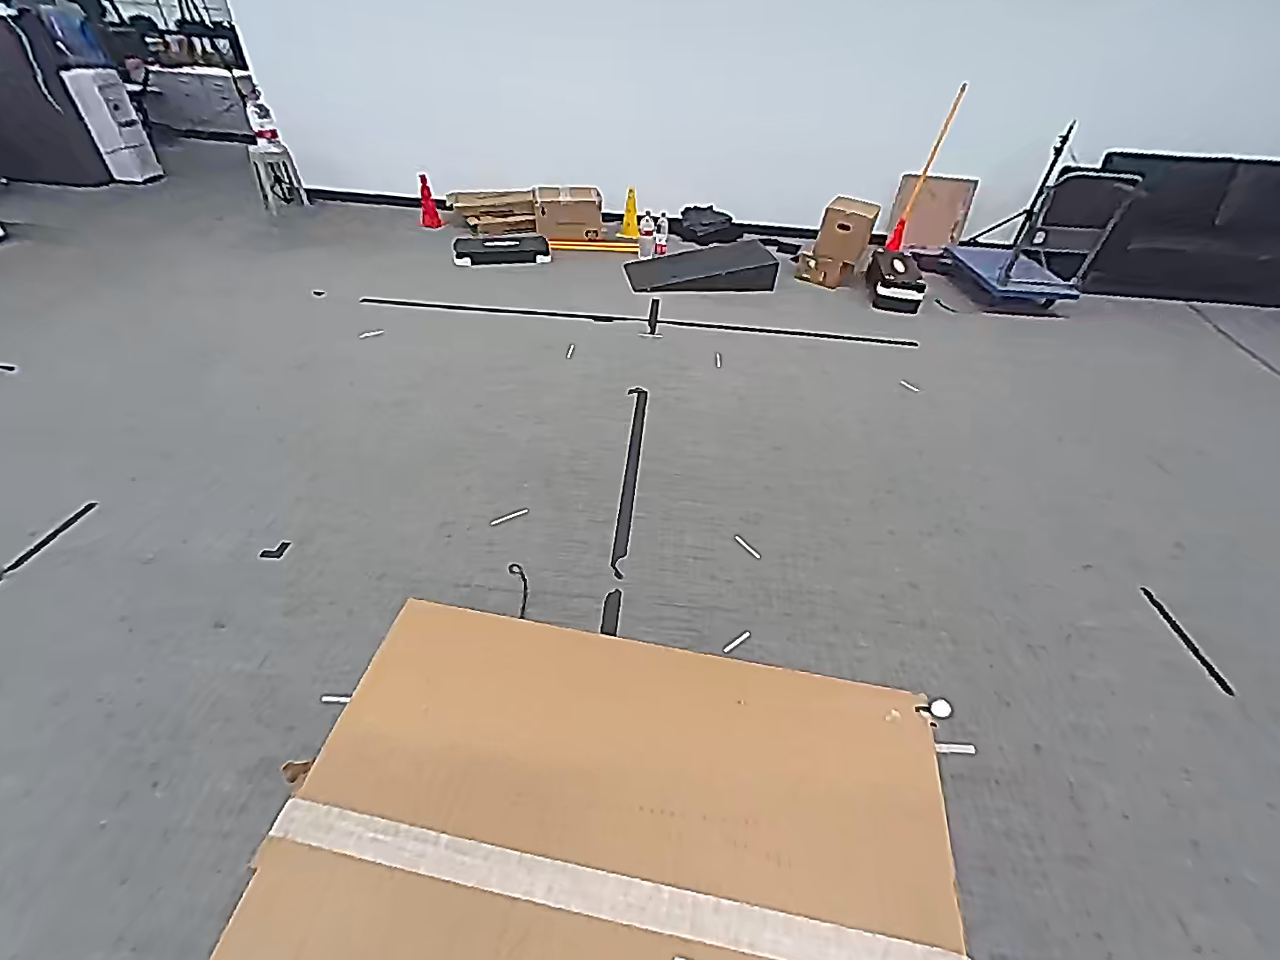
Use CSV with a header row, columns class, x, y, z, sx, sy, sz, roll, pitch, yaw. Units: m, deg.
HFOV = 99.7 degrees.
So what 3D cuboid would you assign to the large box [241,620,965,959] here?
class,x,y,z,sx,sy,sz,roll,pitch,yaw
large box,-0.019,0.350,0.427,0.408,0.320,0.320,9,48,6
